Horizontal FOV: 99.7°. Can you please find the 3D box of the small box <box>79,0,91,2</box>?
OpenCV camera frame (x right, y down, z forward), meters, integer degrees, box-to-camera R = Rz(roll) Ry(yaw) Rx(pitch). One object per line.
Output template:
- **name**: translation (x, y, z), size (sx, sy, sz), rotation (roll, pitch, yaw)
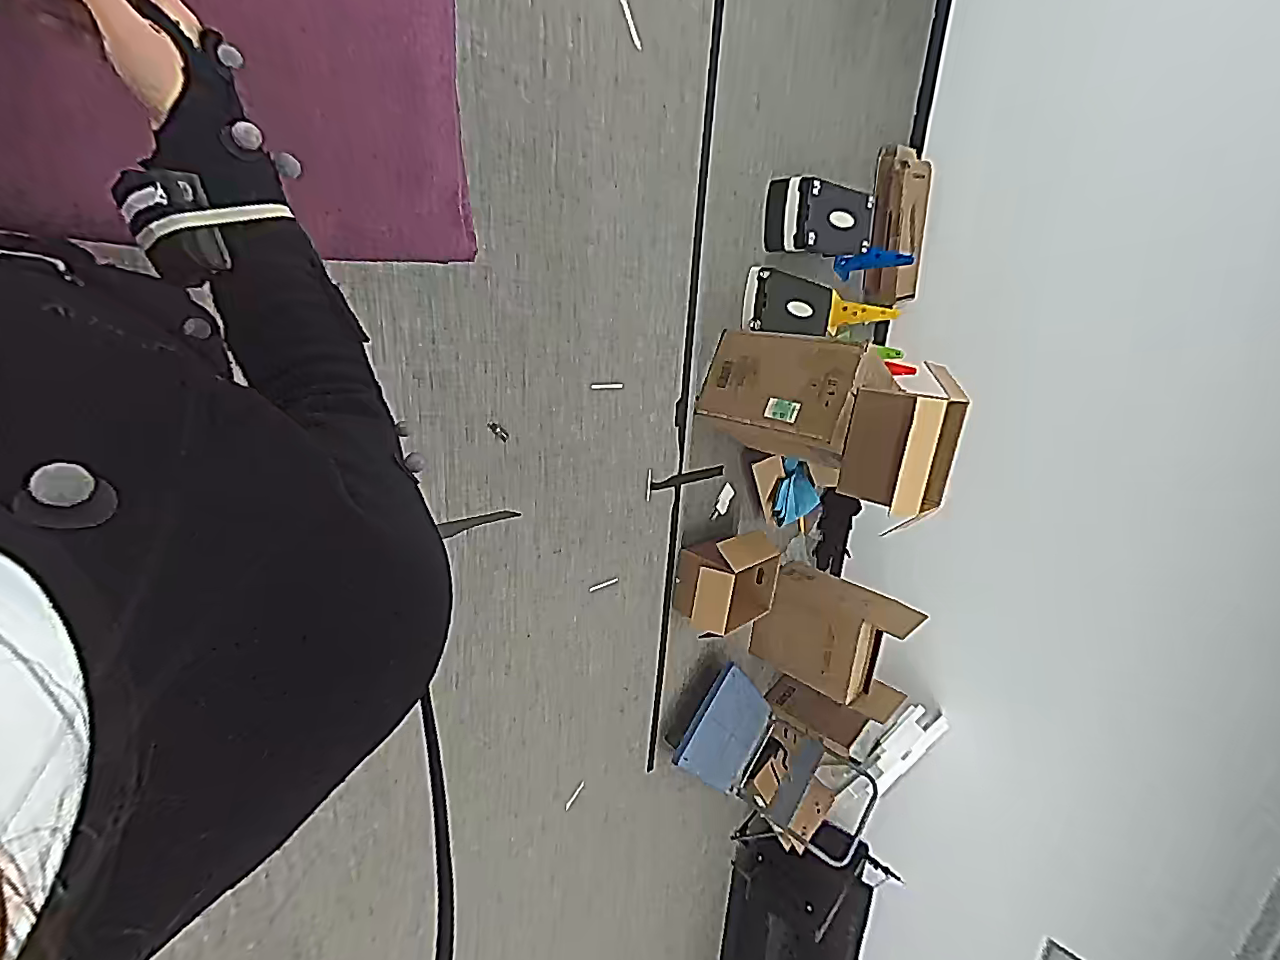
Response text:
- **small box**: translation (-0.407, -0.376, 0.265), size (0.179, 0.176, 0.168), rotation (-9, 126, -43)
